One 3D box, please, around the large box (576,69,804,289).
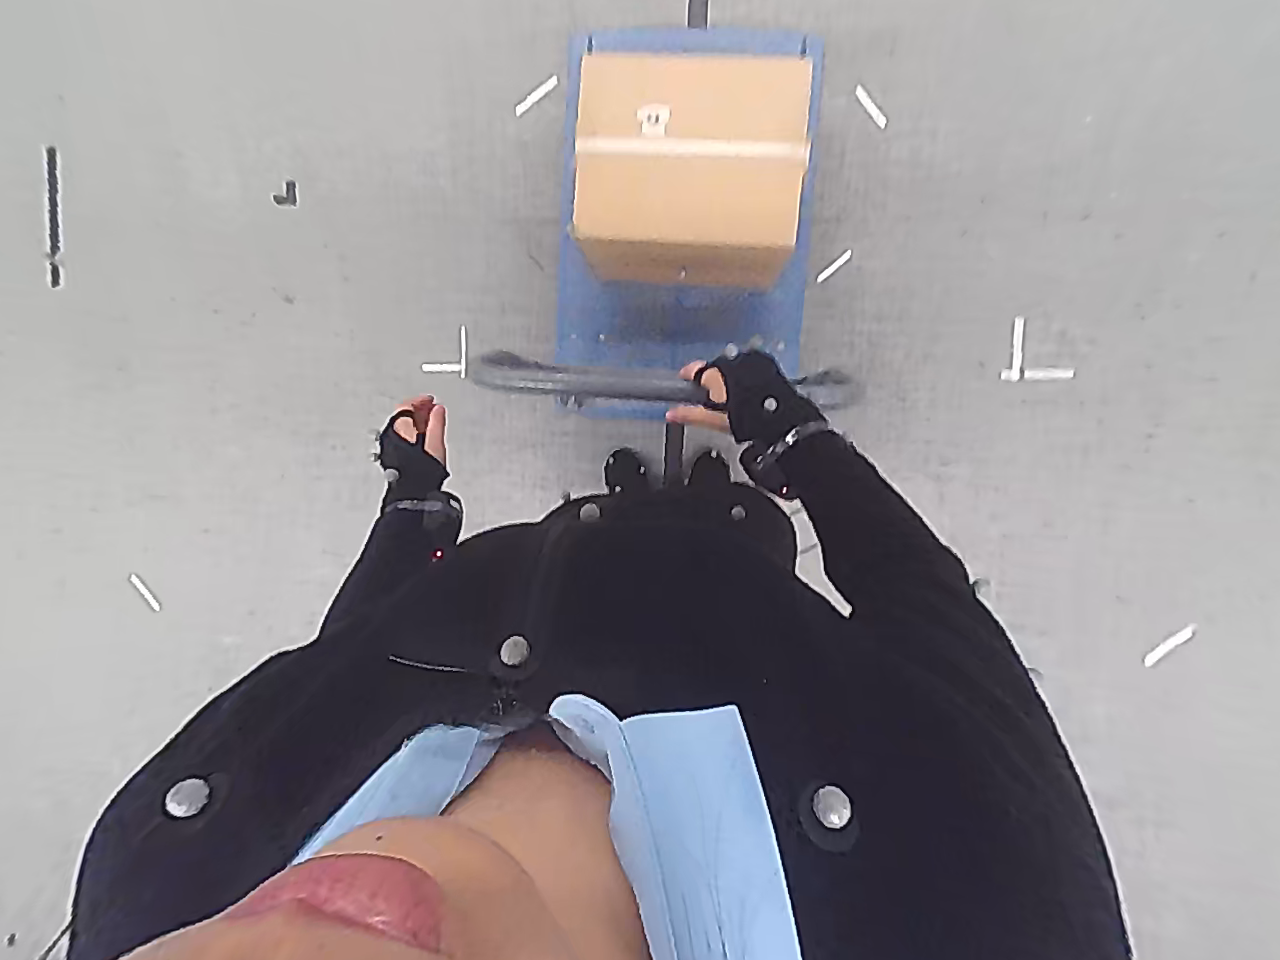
[{"bbox_3d":[0.102,-0.596,1.130,0.408,0.320,0.320,5,95,6],"label":"large box"}]
